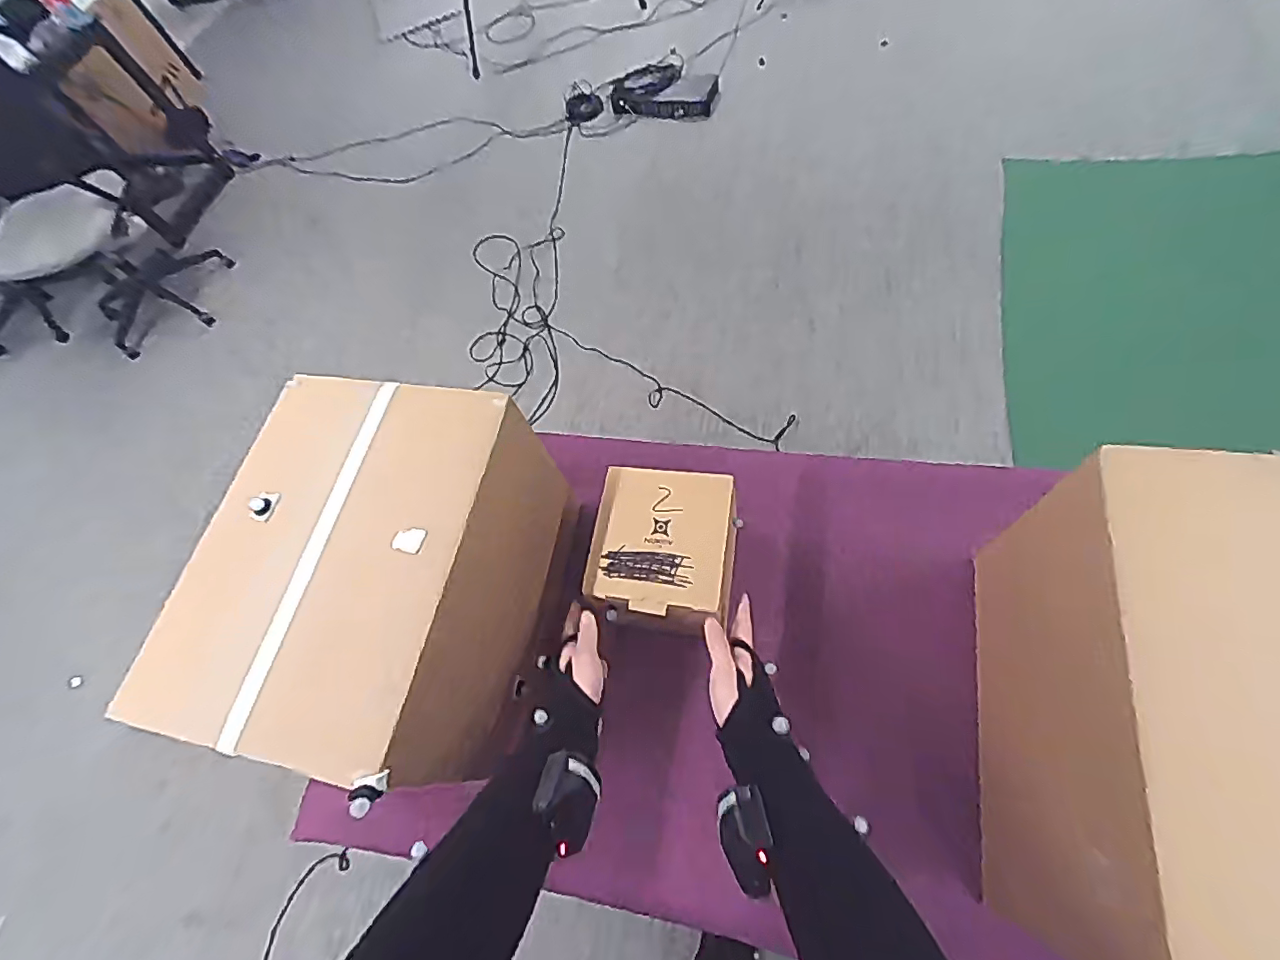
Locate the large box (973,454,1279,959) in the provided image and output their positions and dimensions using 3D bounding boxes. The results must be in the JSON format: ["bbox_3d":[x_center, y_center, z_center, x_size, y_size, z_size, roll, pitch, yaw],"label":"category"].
[{"bbox_3d":[0.534,0.231,0.489,0.320,0.320,0.408,6,66,15],"label":"large box"}]
